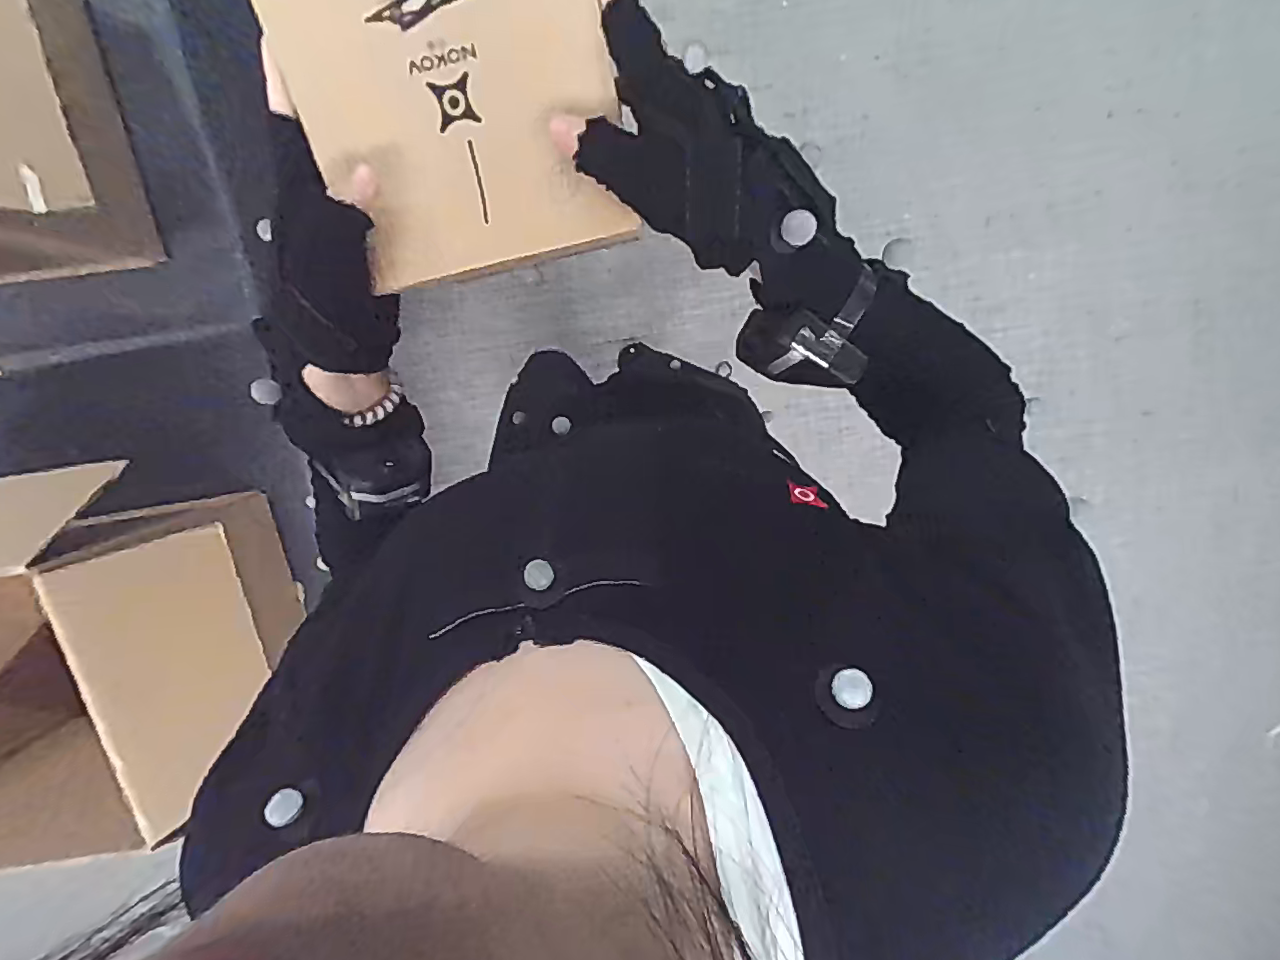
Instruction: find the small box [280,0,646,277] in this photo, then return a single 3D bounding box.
[{"bbox_3d":[-0.093,-0.239,0.356,0.168,0.176,0.179,-10,112,3],"label":"small box"}]
